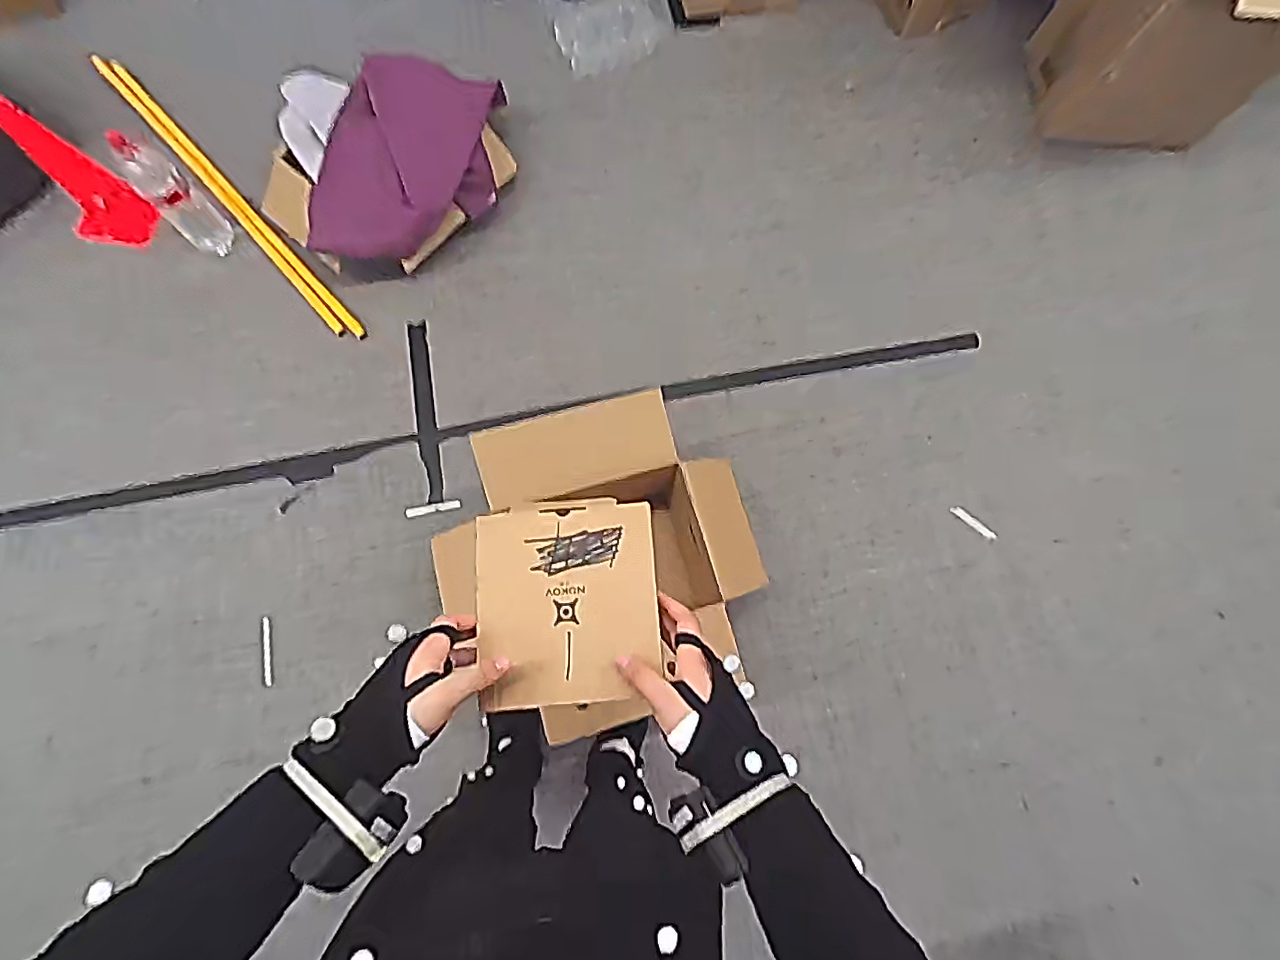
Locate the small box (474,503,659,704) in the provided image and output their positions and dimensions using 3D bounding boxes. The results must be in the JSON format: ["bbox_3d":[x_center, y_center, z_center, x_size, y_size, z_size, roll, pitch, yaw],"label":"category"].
[{"bbox_3d":[-0.069,0.133,0.577,0.168,0.176,0.179,-4,74,0],"label":"small box"}]
